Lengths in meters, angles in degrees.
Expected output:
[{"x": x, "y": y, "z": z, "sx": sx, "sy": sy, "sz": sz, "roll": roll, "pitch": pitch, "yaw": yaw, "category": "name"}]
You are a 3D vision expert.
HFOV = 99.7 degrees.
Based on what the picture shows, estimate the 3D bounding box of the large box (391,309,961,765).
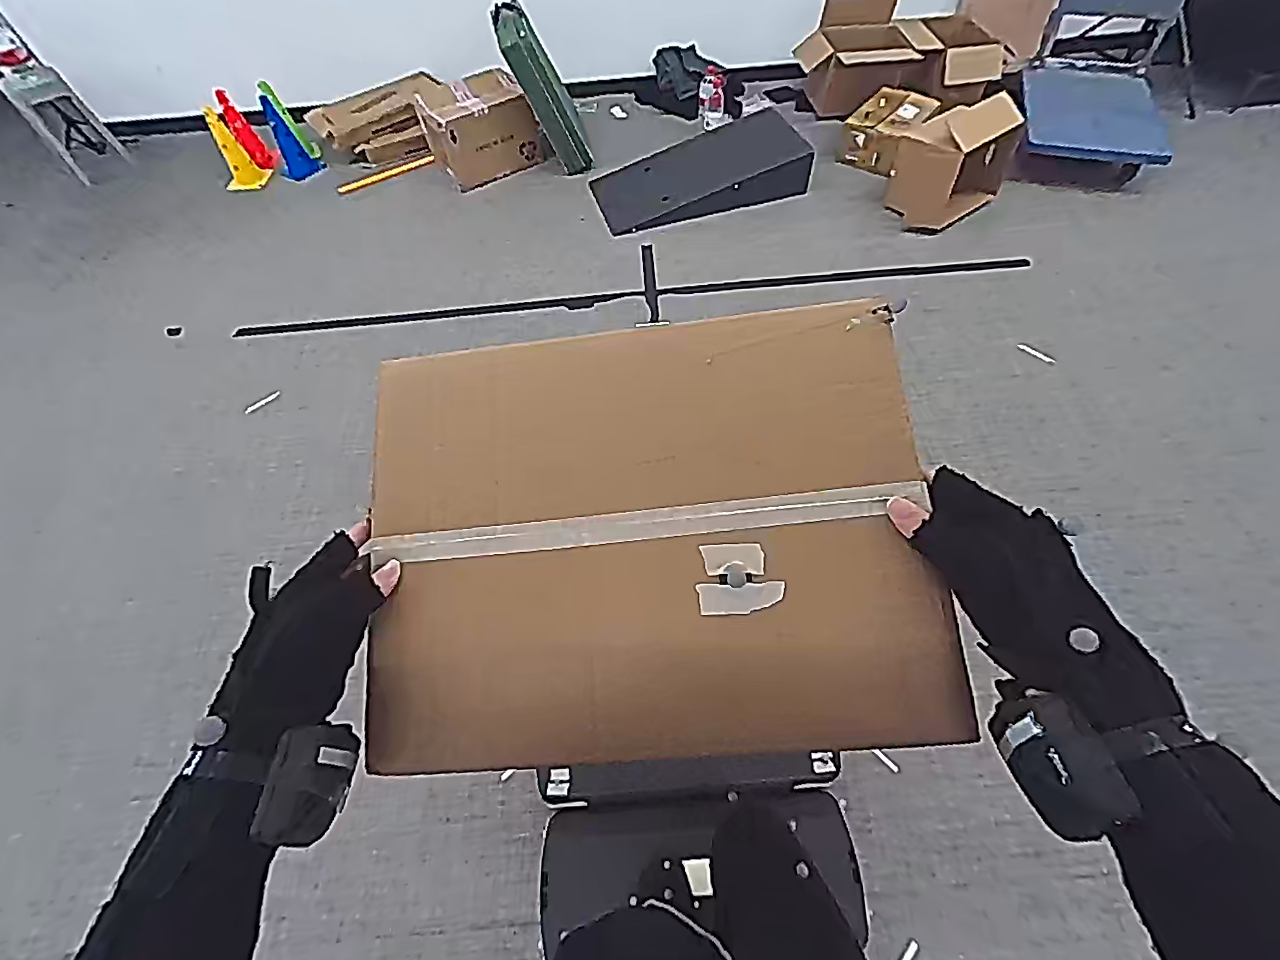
[{"x": 0.019, "y": 0.070, "z": 0.551, "sx": 0.408, "sy": 0.320, "sz": 0.320, "roll": -6, "pitch": 76, "yaw": 5, "category": "large box"}]

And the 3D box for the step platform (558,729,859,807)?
[{"x": 0.148, "y": 0.582, "z": 1.281, "sx": 0.684, "sy": 0.204, "sz": 0.286, "roll": -5, "pitch": 57, "yaw": 0, "category": "step platform"}]
